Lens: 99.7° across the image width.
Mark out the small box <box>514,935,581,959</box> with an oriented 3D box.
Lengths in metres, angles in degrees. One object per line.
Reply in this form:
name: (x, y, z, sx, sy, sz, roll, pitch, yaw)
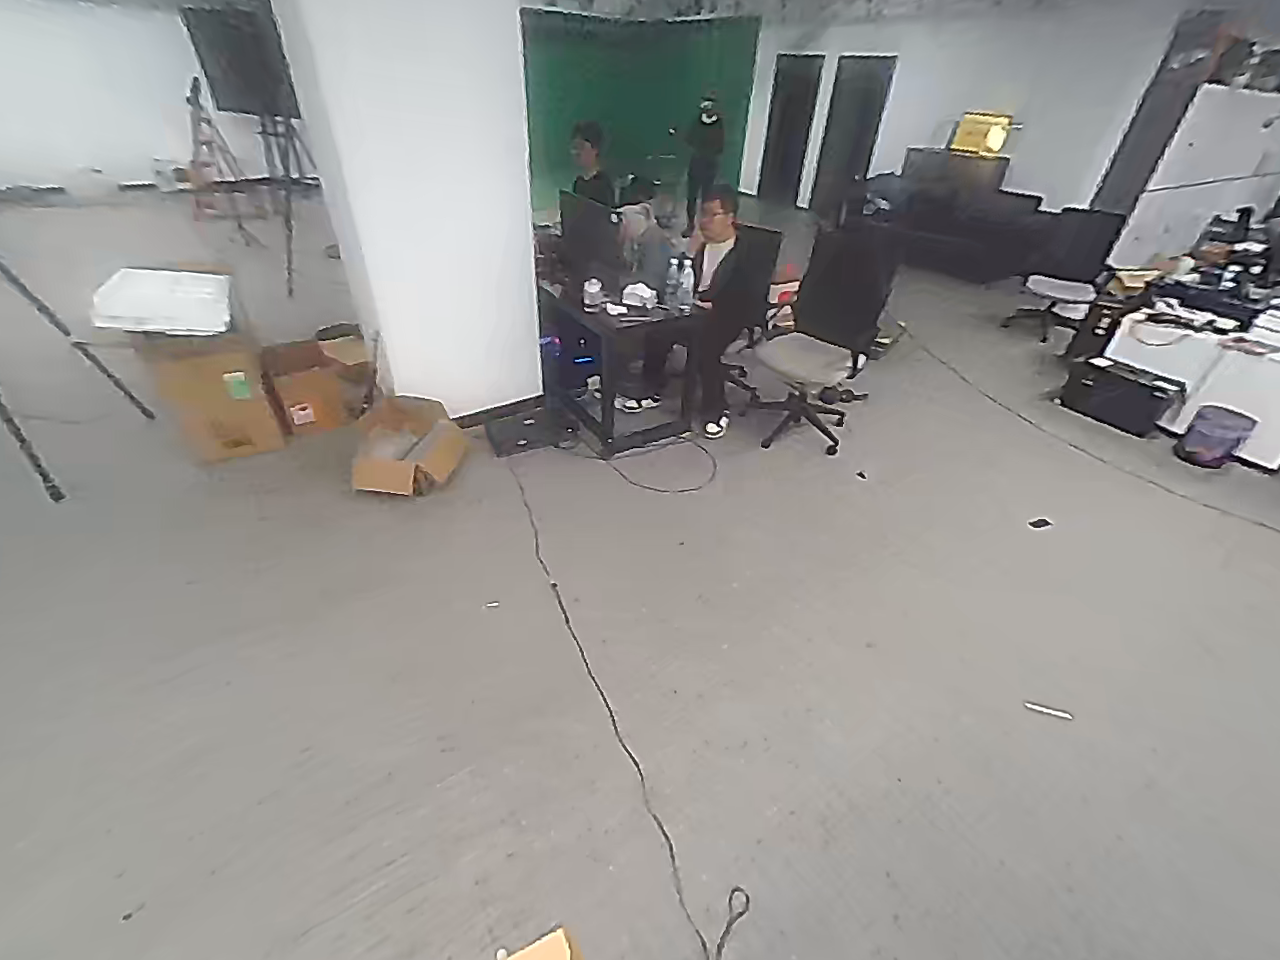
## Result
small box: (-0.131, 0.657, 0.597, 0.179, 0.176, 0.168, -18, 44, -15)
